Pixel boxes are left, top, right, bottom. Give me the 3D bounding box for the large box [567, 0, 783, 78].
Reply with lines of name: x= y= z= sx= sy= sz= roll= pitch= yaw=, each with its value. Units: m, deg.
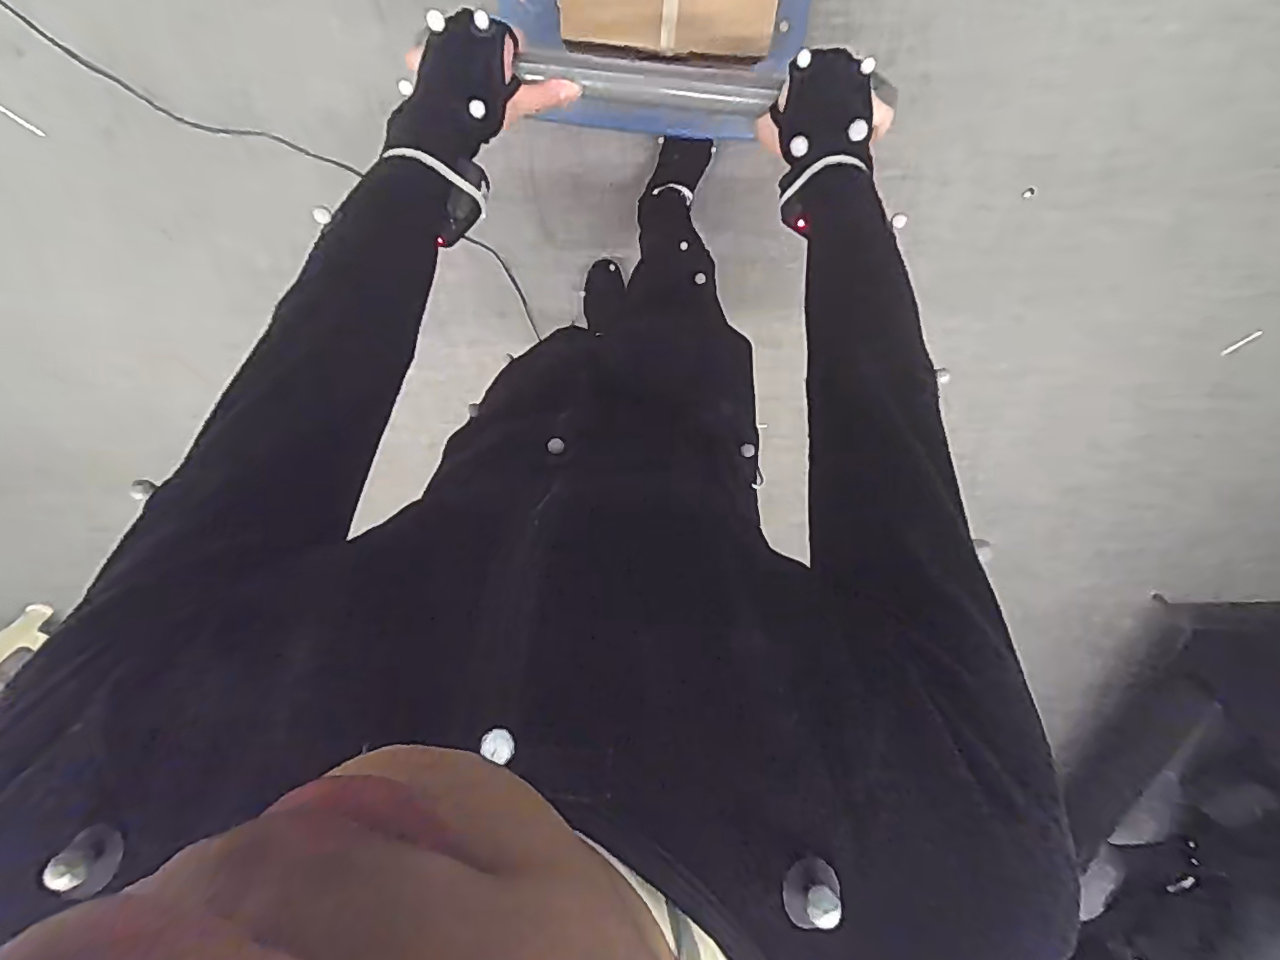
large box: x=0.061 y=-0.886 z=0.829 sx=0.320 sy=0.320 sz=0.408 roll=4 pitch=122 yaw=-2
